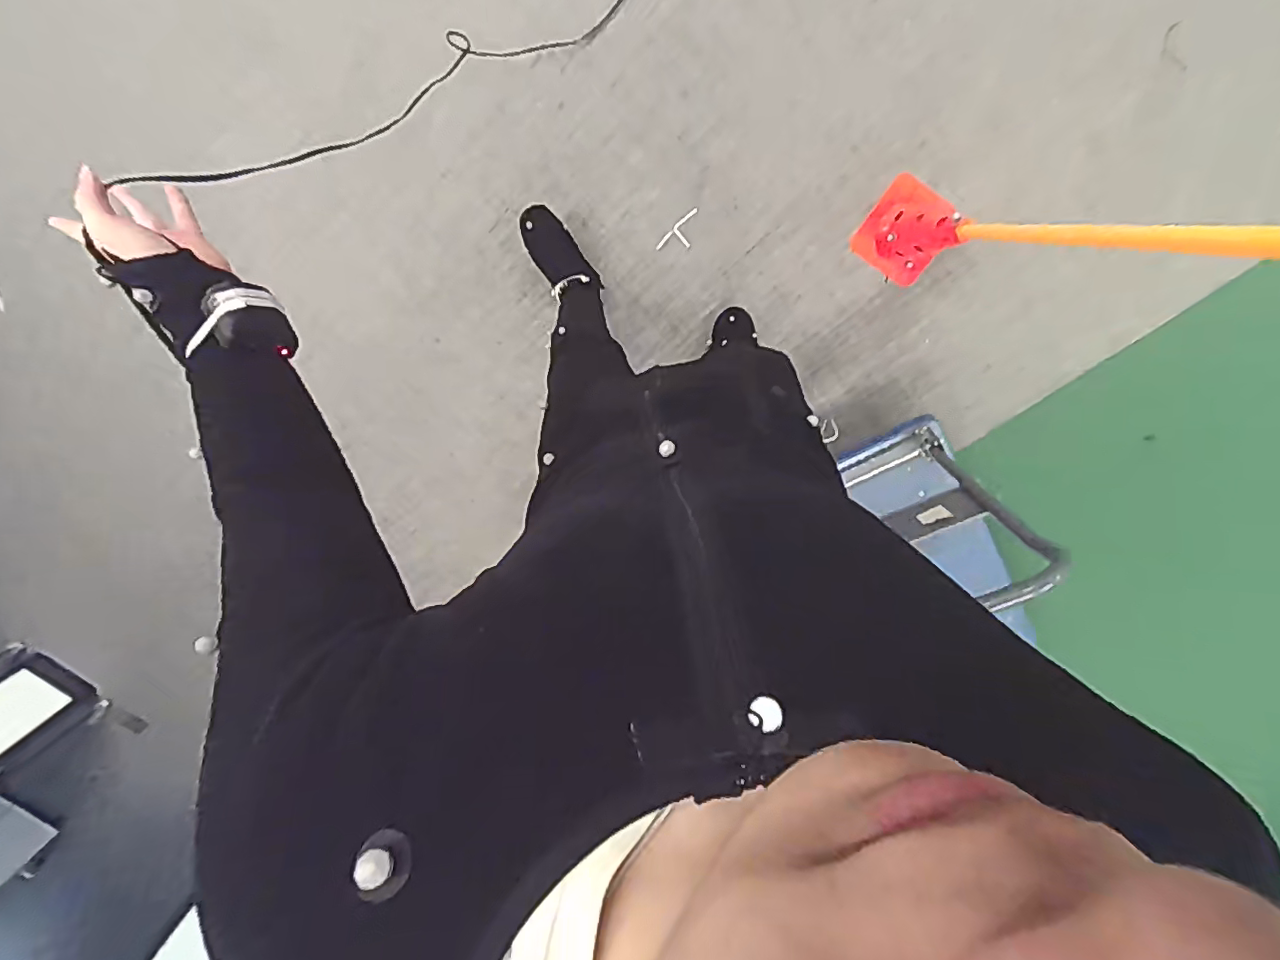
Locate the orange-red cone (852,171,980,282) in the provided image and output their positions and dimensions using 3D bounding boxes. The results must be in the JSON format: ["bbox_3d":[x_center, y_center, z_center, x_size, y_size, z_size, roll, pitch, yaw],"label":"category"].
[{"bbox_3d":[0.636,-0.550,1.174,0.198,0.360,0.199,32,113,-9],"label":"orange-red cone"}]
